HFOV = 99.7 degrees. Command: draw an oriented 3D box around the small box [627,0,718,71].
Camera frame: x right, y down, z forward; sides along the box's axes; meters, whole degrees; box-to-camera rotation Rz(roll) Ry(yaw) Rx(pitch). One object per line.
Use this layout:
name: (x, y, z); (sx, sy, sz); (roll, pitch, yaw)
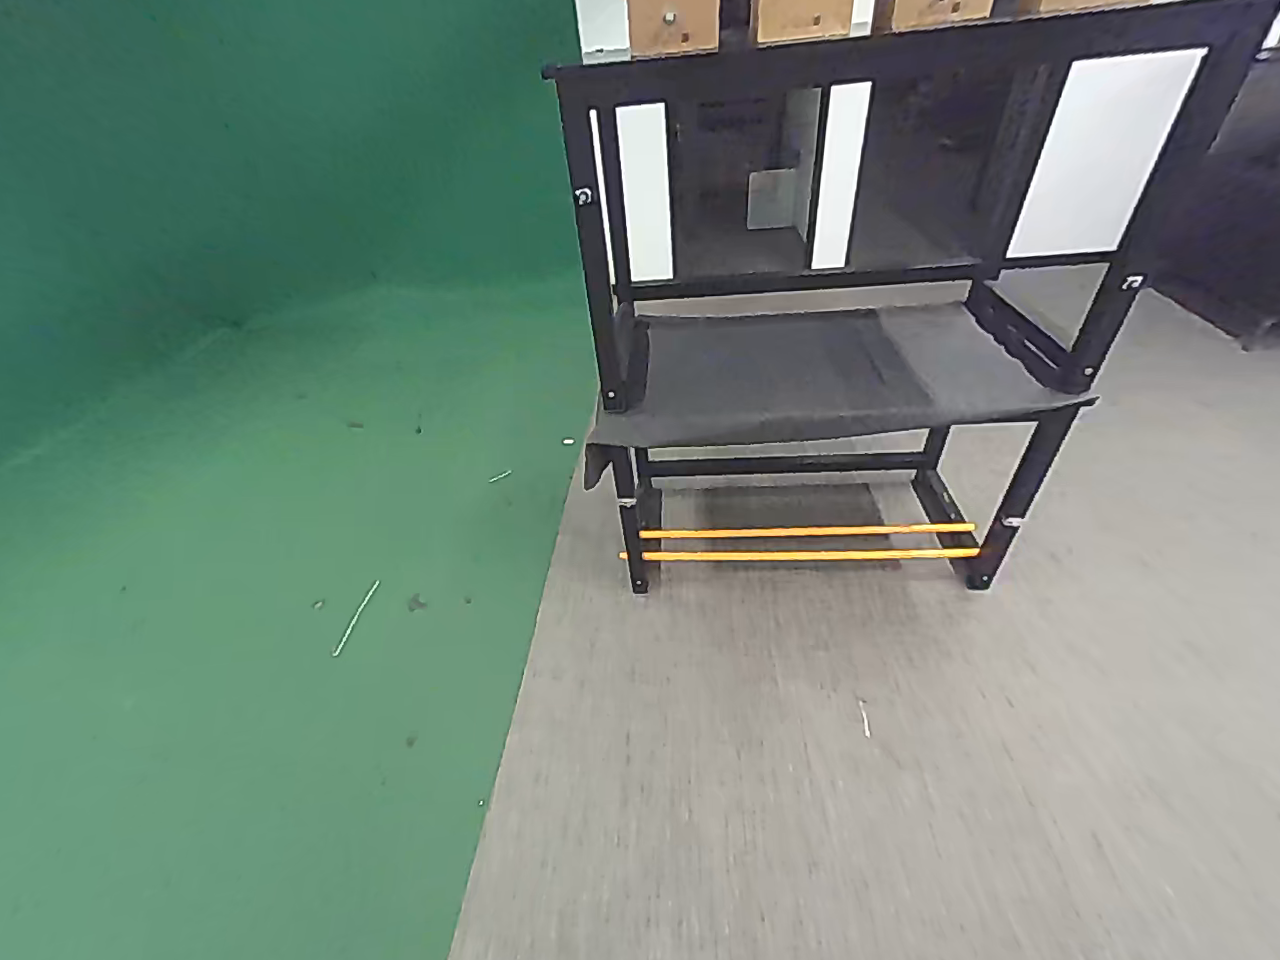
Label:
small box: (0.062, -0.898, 1.036); (0.168, 0.176, 0.179); (-2, 40, 5)
